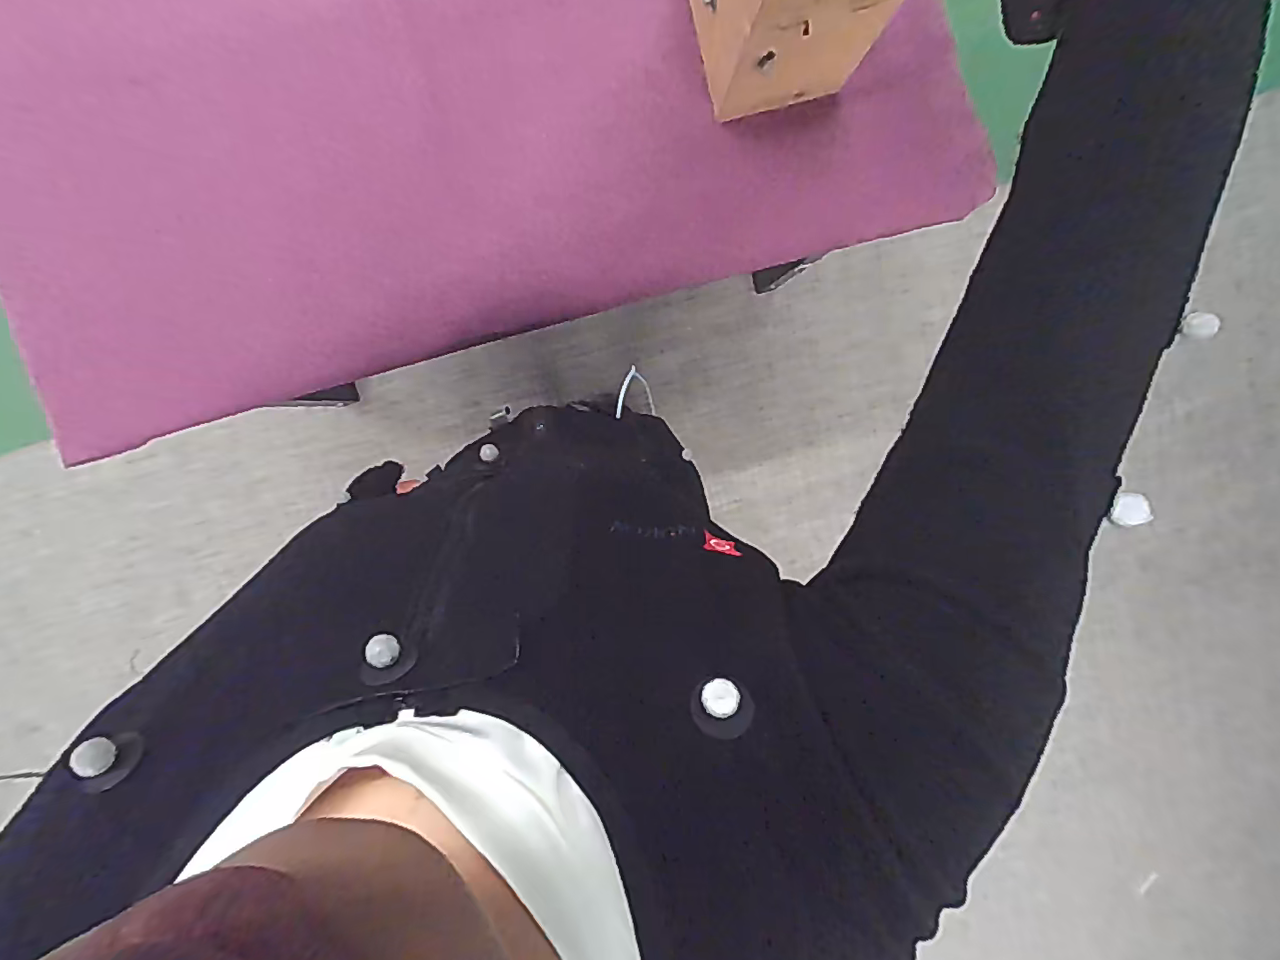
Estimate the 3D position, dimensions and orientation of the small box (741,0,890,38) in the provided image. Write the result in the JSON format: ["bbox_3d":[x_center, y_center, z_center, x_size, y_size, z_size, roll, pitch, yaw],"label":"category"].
[{"bbox_3d":[0.165,-0.528,0.444,0.168,0.176,0.179,-18,98,0],"label":"small box"}]
